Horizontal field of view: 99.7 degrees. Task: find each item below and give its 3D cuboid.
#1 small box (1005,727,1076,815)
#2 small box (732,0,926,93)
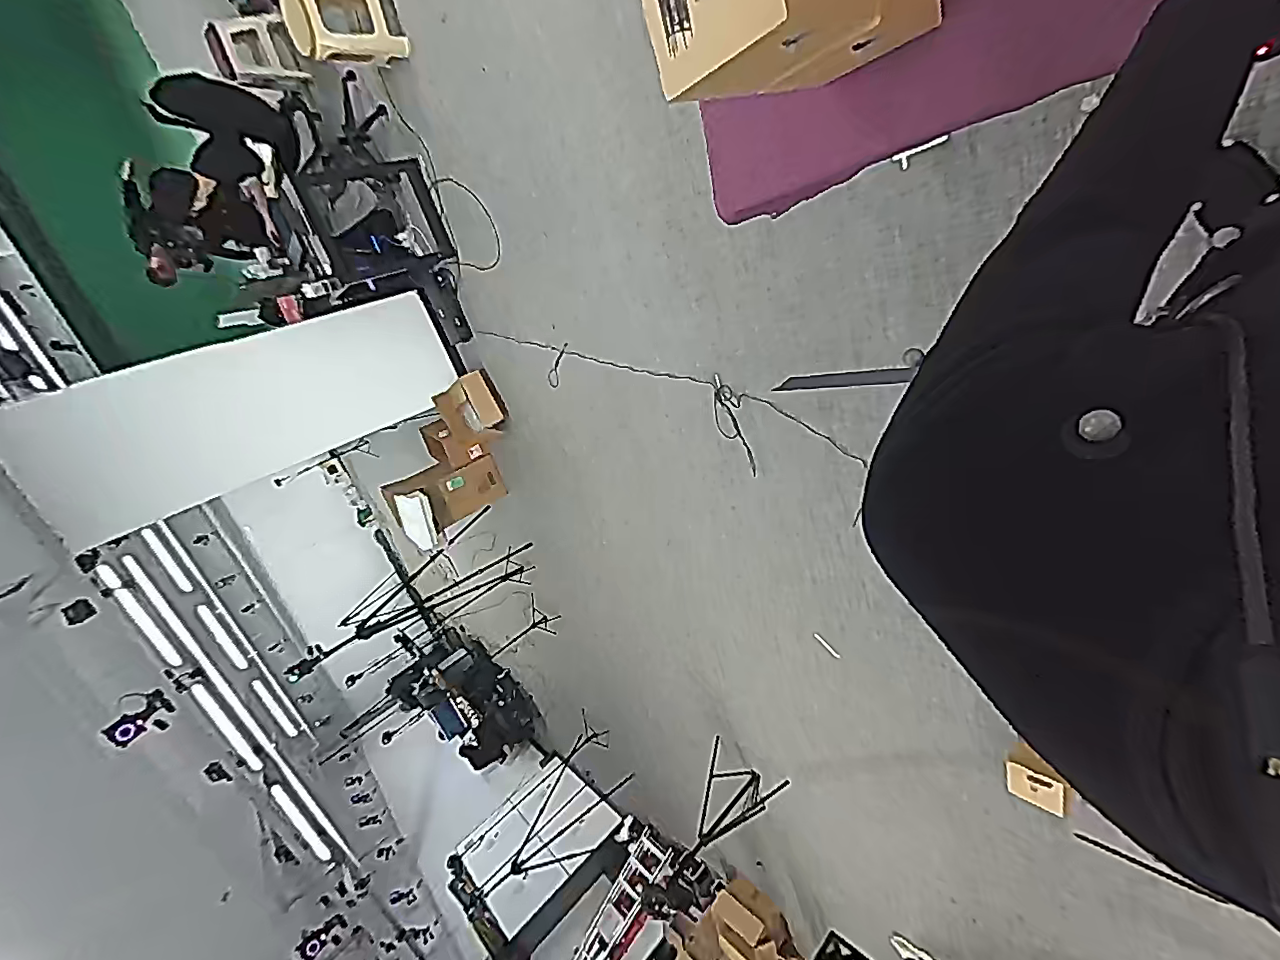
[{"bbox_3d":[1.410,1.015,1.902,0.168,0.176,0.179,11,127,50],"label":"small box"},{"bbox_3d":[0.236,-0.618,0.673,0.179,0.176,0.168,9,124,50],"label":"small box"}]
